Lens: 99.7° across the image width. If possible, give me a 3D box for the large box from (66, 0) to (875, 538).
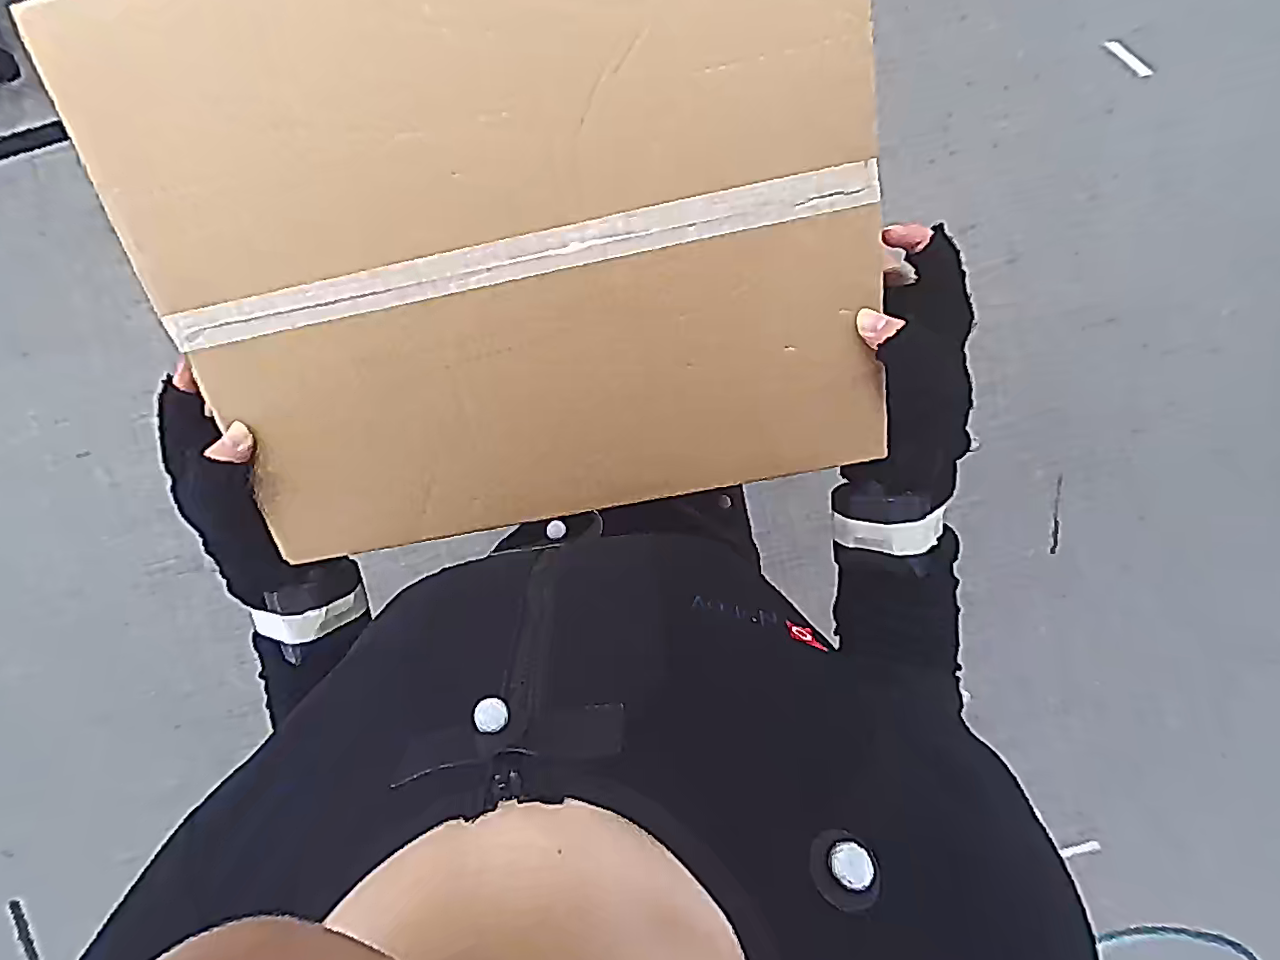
[{"bbox_3d":[-0.074,-0.187,0.451,0.408,0.320,0.320,-11,111,4],"label":"large box"}]
